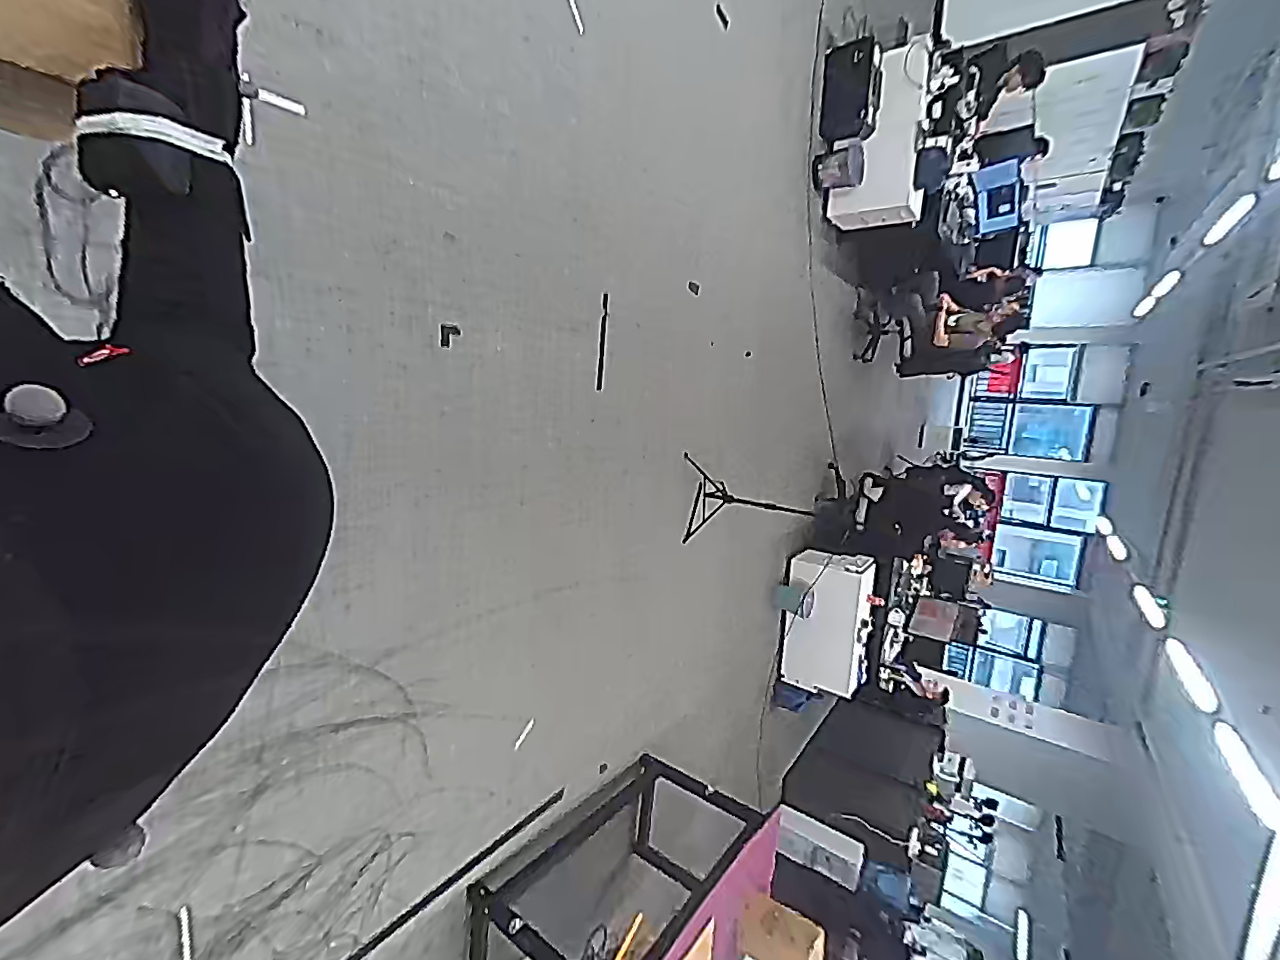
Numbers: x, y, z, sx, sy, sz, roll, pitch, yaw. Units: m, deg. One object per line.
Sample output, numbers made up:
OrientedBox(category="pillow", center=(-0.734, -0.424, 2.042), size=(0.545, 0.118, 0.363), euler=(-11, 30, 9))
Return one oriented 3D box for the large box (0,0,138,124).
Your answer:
OrientedBox(category="large box", center=(-0.566, -0.436, 0.263), size=(0.408, 0.320, 0.320), euler=(-10, 114, -55))
